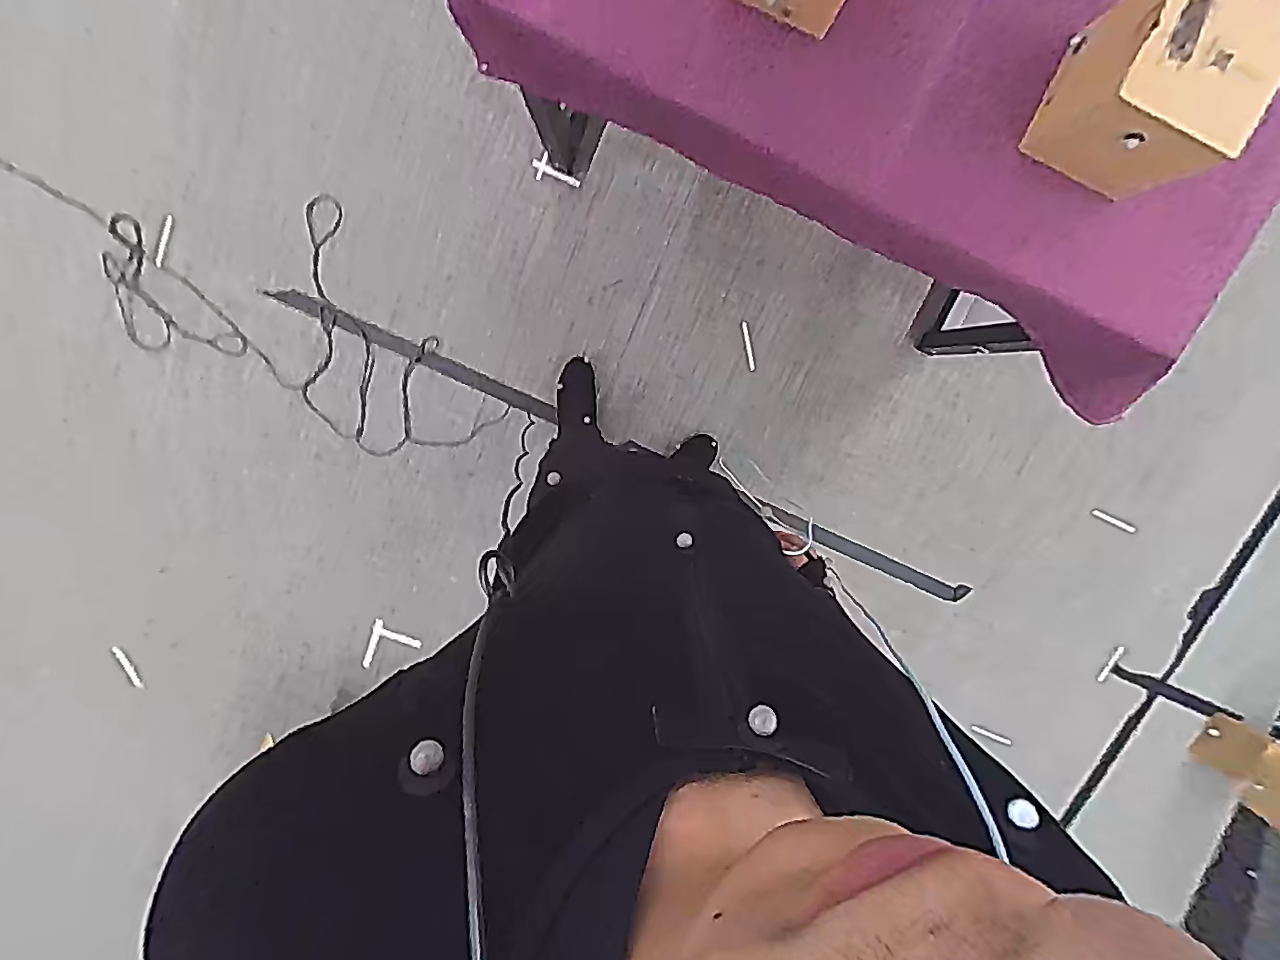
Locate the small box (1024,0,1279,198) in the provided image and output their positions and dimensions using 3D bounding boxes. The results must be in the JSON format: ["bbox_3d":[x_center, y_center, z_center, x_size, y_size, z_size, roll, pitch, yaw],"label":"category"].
[{"bbox_3d":[0.661,-0.499,0.704,0.179,0.176,0.168,23,100,-6],"label":"small box"}]
